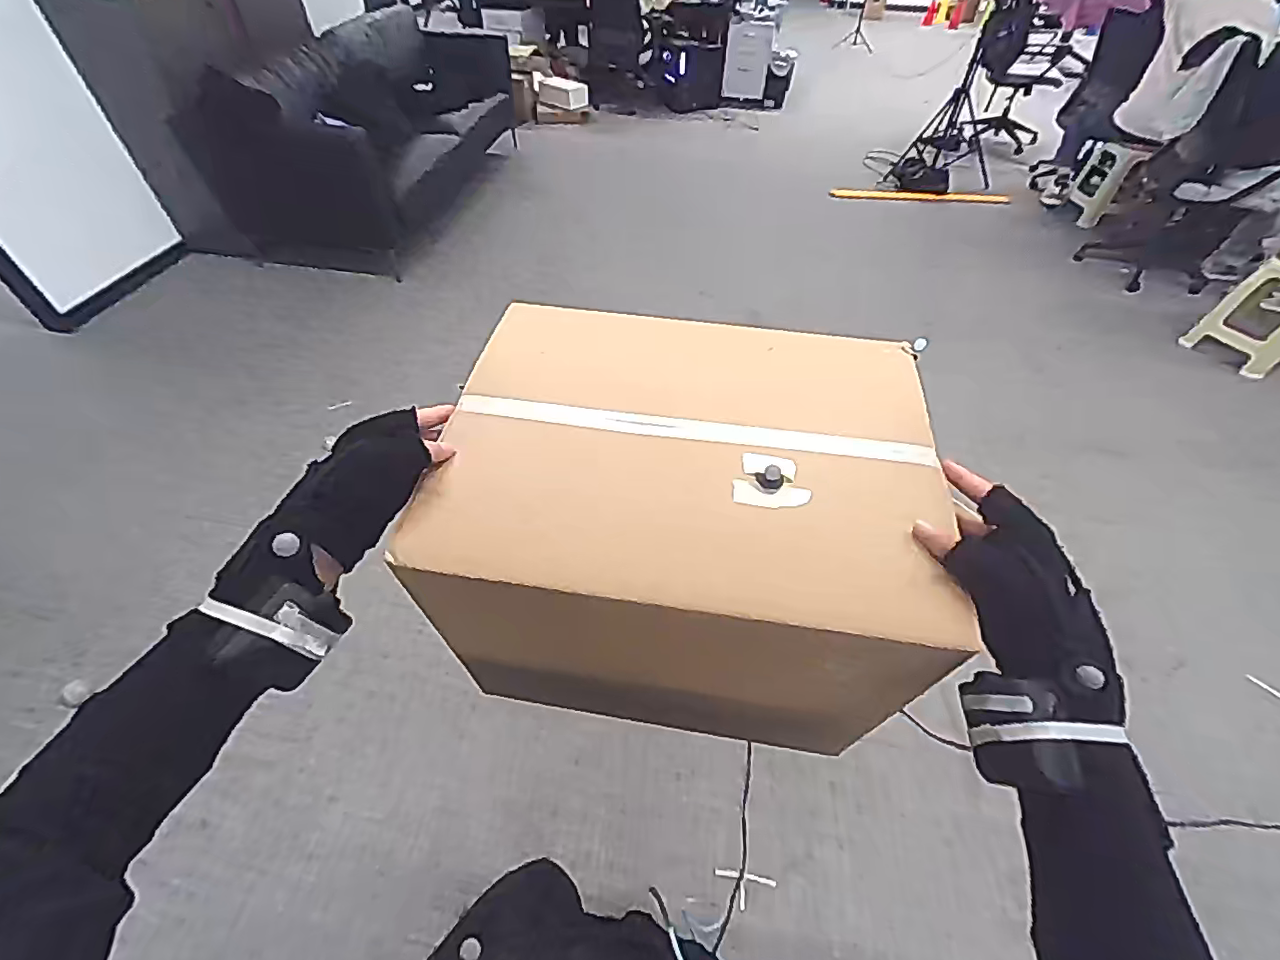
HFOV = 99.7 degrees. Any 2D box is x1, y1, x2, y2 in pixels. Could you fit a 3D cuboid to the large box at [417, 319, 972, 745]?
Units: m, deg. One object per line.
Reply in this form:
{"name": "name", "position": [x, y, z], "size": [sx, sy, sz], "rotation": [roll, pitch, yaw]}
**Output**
{"name": "large box", "position": [0.047, 0.061, 0.586], "size": [0.408, 0.320, 0.320], "rotation": [8, 53, 4]}
